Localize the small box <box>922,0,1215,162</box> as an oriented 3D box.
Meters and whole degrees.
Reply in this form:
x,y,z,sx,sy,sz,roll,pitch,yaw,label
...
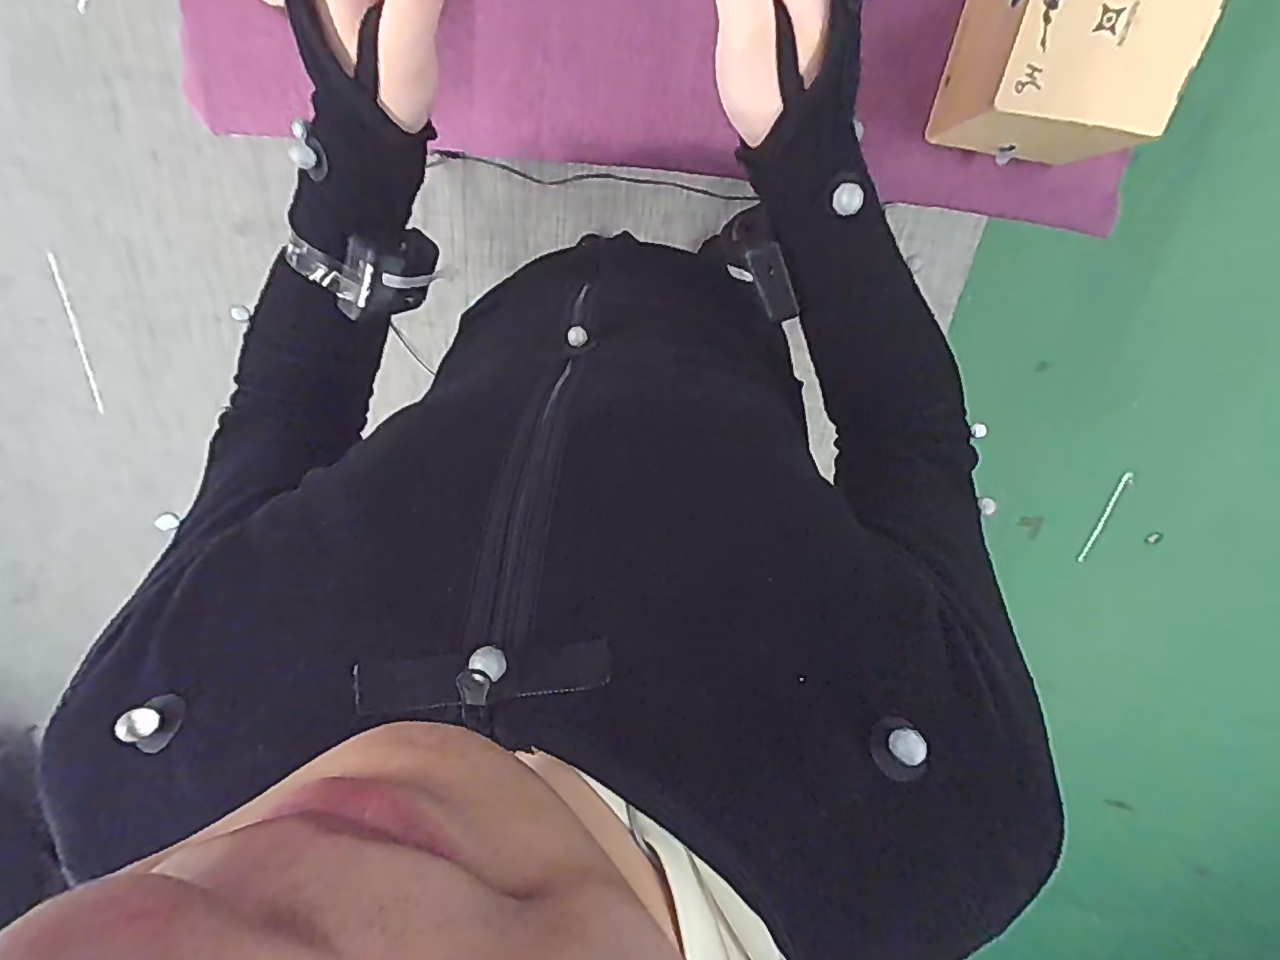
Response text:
x,y,z,sx,sy,sz,roll,pitch,yaw,label
0.450,-0.461,0.589,0.179,0.176,0.168,10,112,-1,small box
